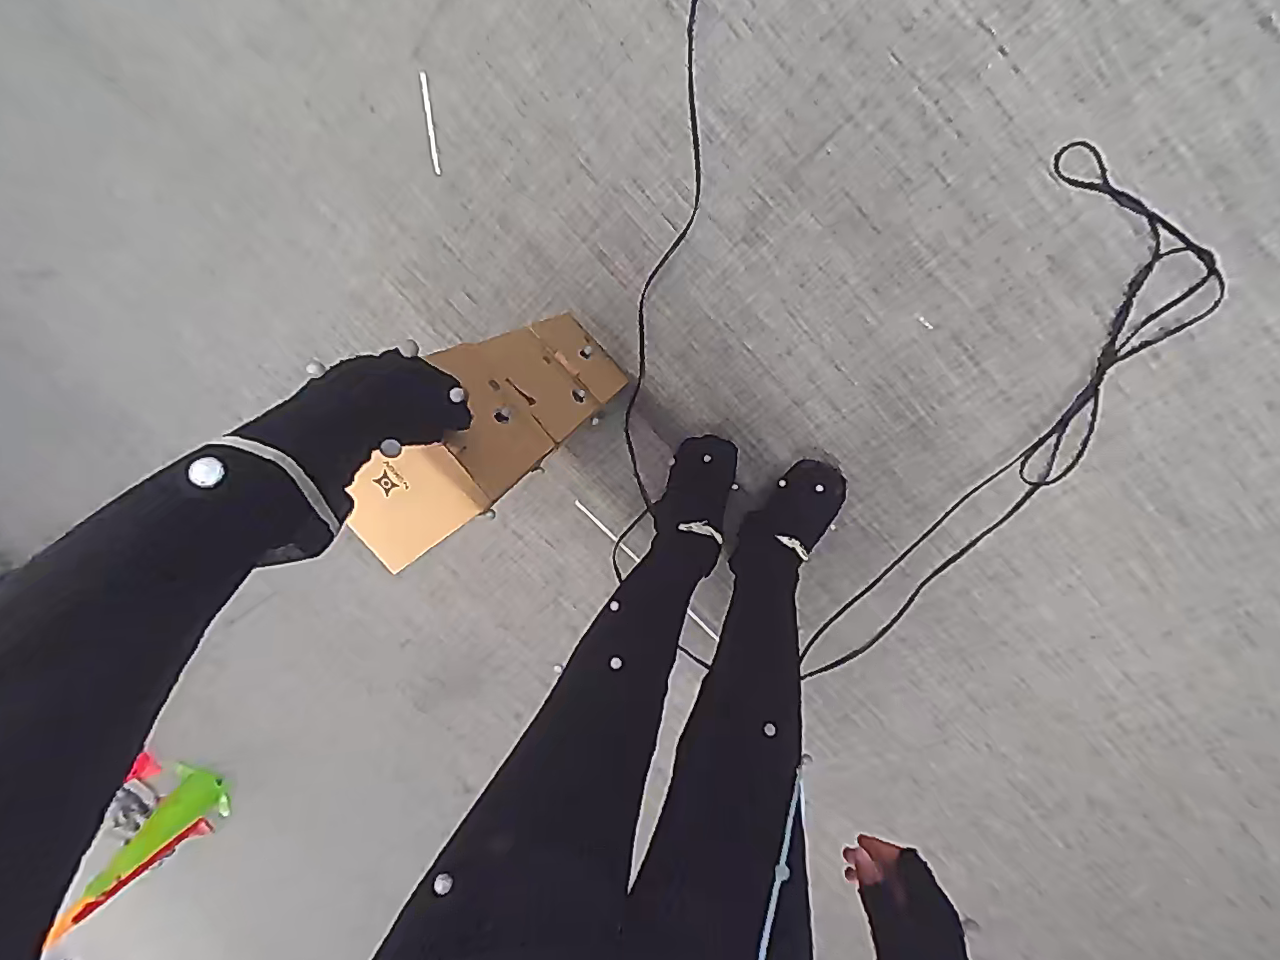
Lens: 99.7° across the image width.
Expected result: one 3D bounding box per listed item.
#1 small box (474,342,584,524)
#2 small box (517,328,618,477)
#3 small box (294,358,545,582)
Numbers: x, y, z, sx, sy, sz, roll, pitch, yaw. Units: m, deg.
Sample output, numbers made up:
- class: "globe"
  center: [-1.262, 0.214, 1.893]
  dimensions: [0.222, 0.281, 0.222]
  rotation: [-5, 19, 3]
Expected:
- class: "small box"
  center: [-0.201, -0.075, 0.779]
  dimensions: [0.179, 0.176, 0.168]
  rotation: [-38, 100, 27]
- class: "small box"
  center: [-0.156, -0.140, 0.926]
  dimensions: [0.168, 0.176, 0.179]
  rotation: [46, 114, -4]
- class: "small box"
  center: [-0.243, -0.018, 0.632]
  dimensions: [0.179, 0.176, 0.168]
  rotation: [-33, 102, 25]
